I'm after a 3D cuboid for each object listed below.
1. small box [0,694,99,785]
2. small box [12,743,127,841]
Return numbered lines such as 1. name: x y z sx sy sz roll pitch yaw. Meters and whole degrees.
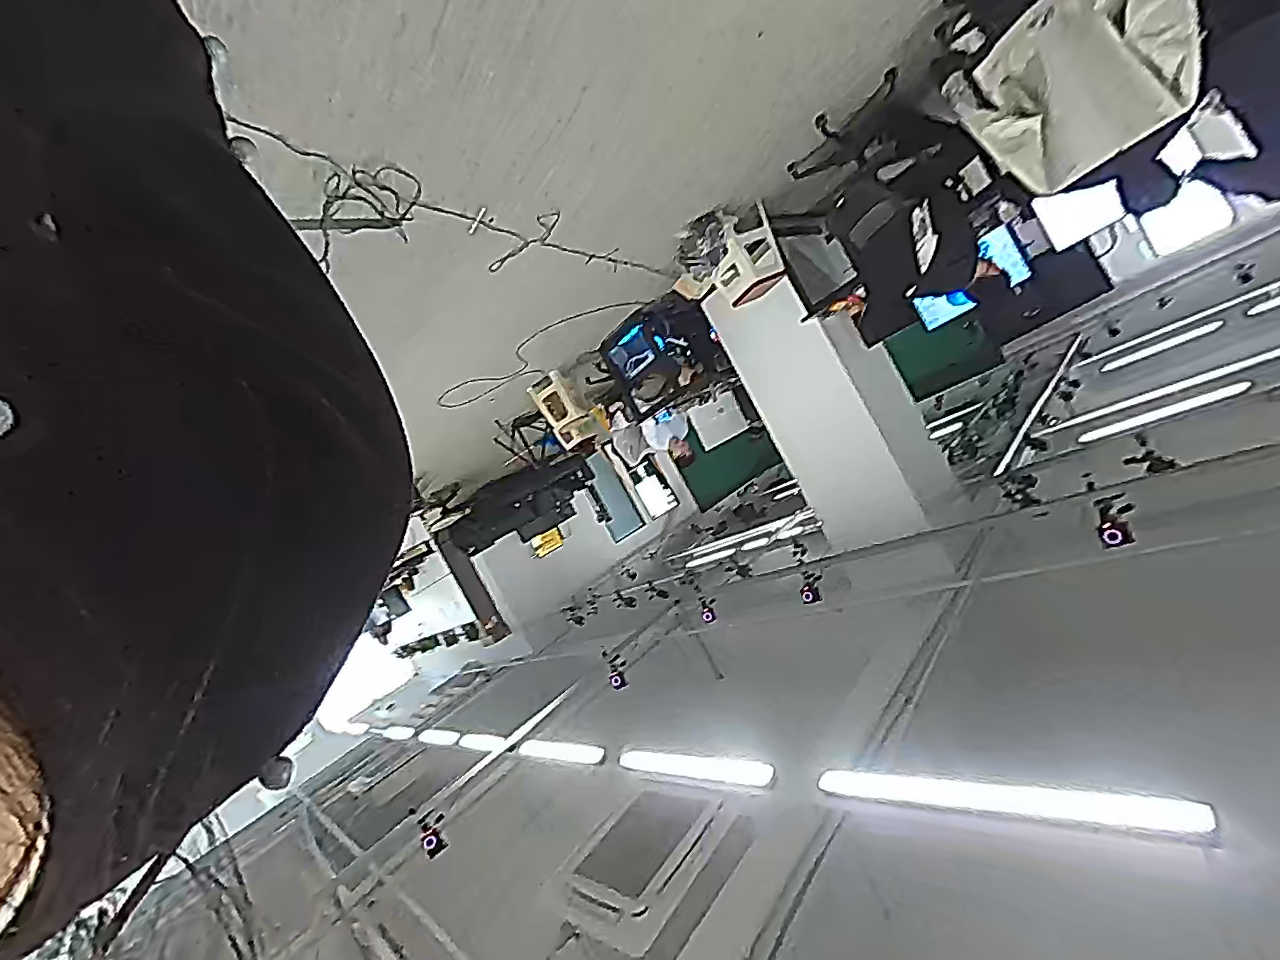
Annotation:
1. small box: -1.687 0.731 1.535 0.179 0.176 0.168 -30 180 45
2. small box: -1.595 0.865 1.518 0.168 0.176 0.179 -28 180 -42
